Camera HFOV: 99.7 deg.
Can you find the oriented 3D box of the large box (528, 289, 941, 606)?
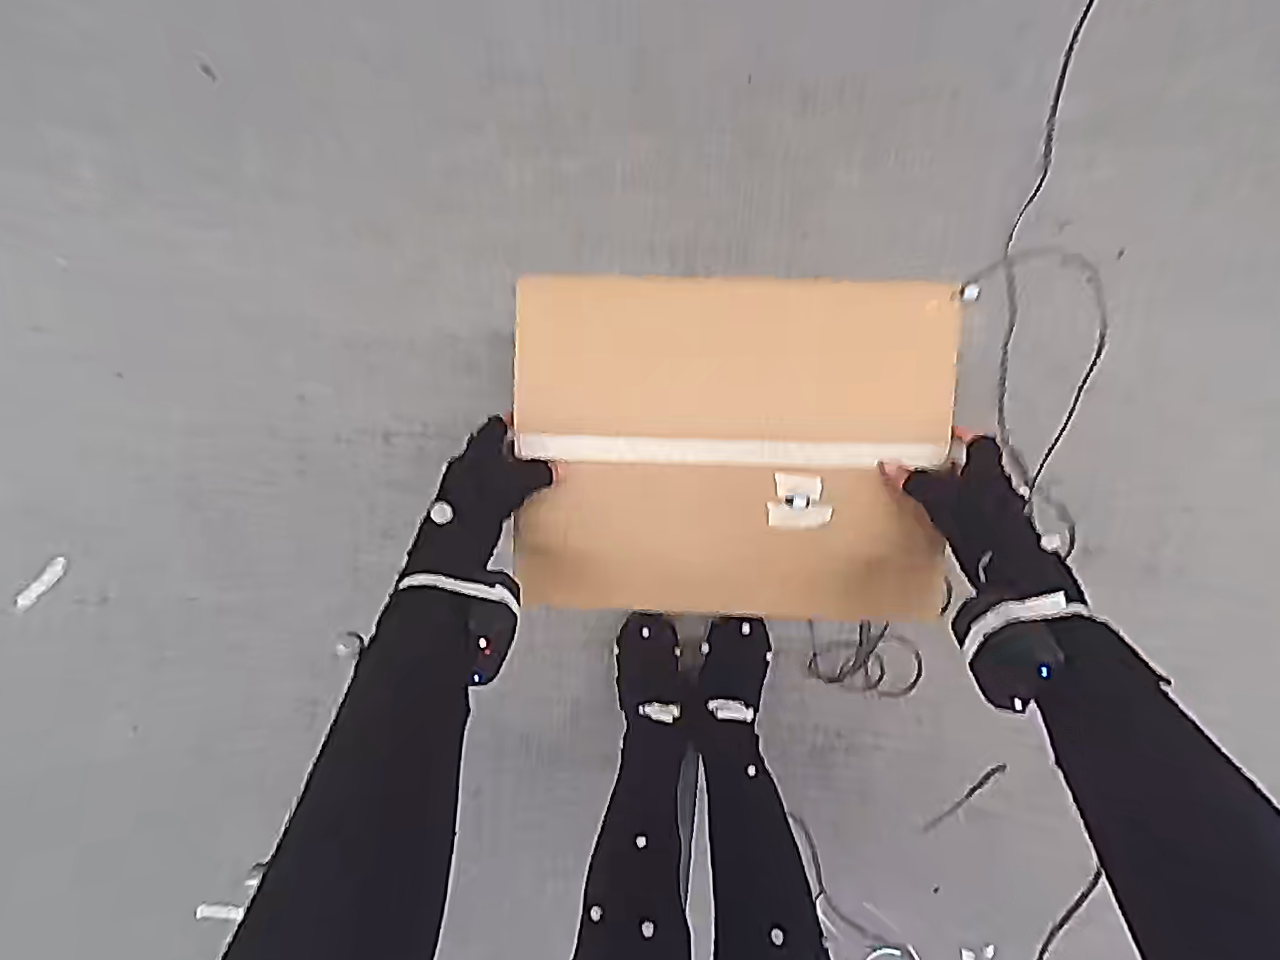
[{"bbox_3d":[0.092,-0.039,0.680,0.408,0.320,0.320,1,95,3],"label":"large box"}]
